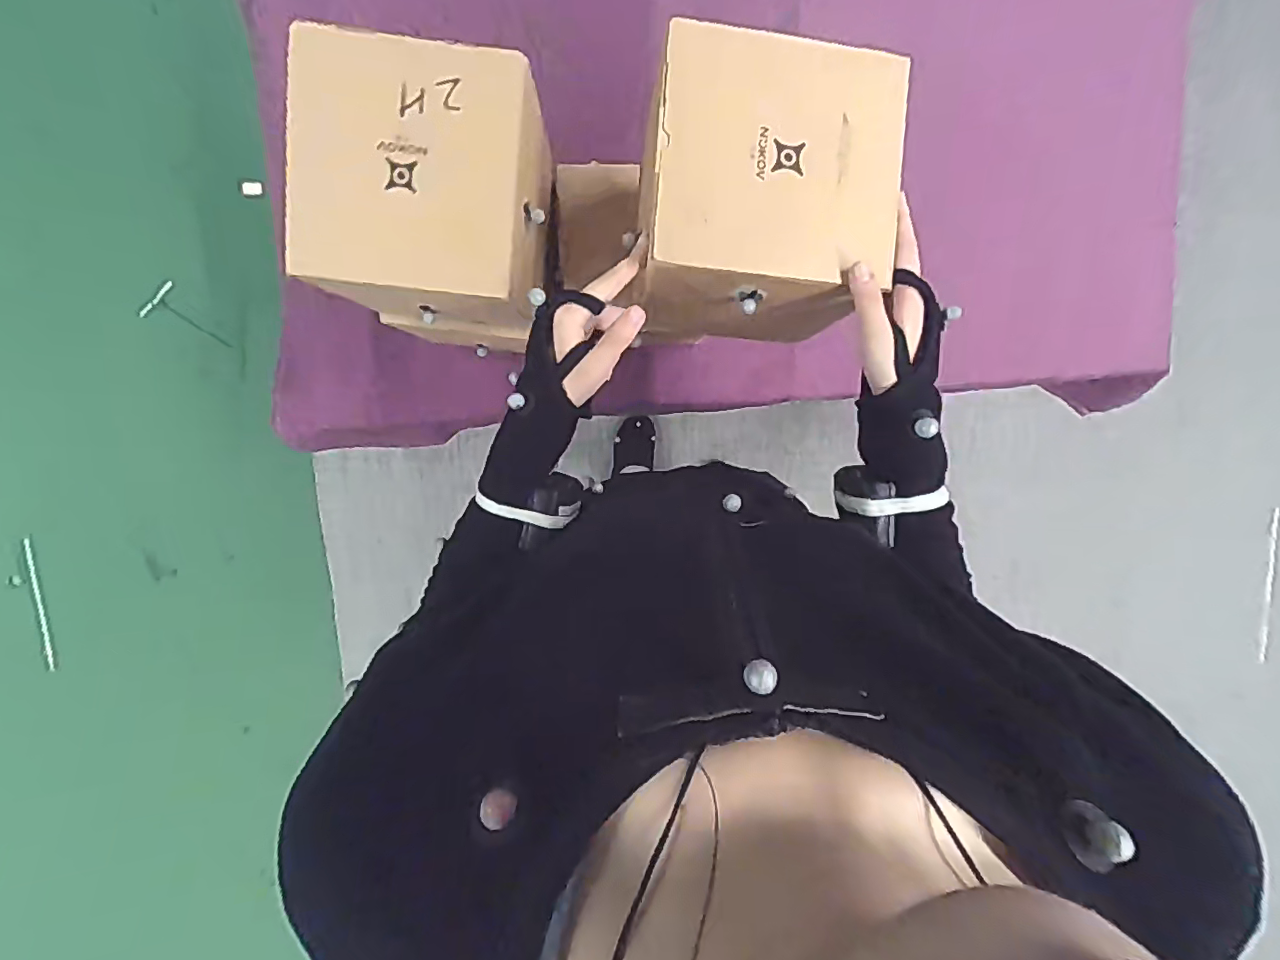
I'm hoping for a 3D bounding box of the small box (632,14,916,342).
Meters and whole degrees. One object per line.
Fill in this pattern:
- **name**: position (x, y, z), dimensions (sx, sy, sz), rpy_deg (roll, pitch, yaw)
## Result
- **small box**: position (0.090, -0.220, 0.445), dimensions (0.179, 0.176, 0.168), rpy_deg (5, 90, -7)
